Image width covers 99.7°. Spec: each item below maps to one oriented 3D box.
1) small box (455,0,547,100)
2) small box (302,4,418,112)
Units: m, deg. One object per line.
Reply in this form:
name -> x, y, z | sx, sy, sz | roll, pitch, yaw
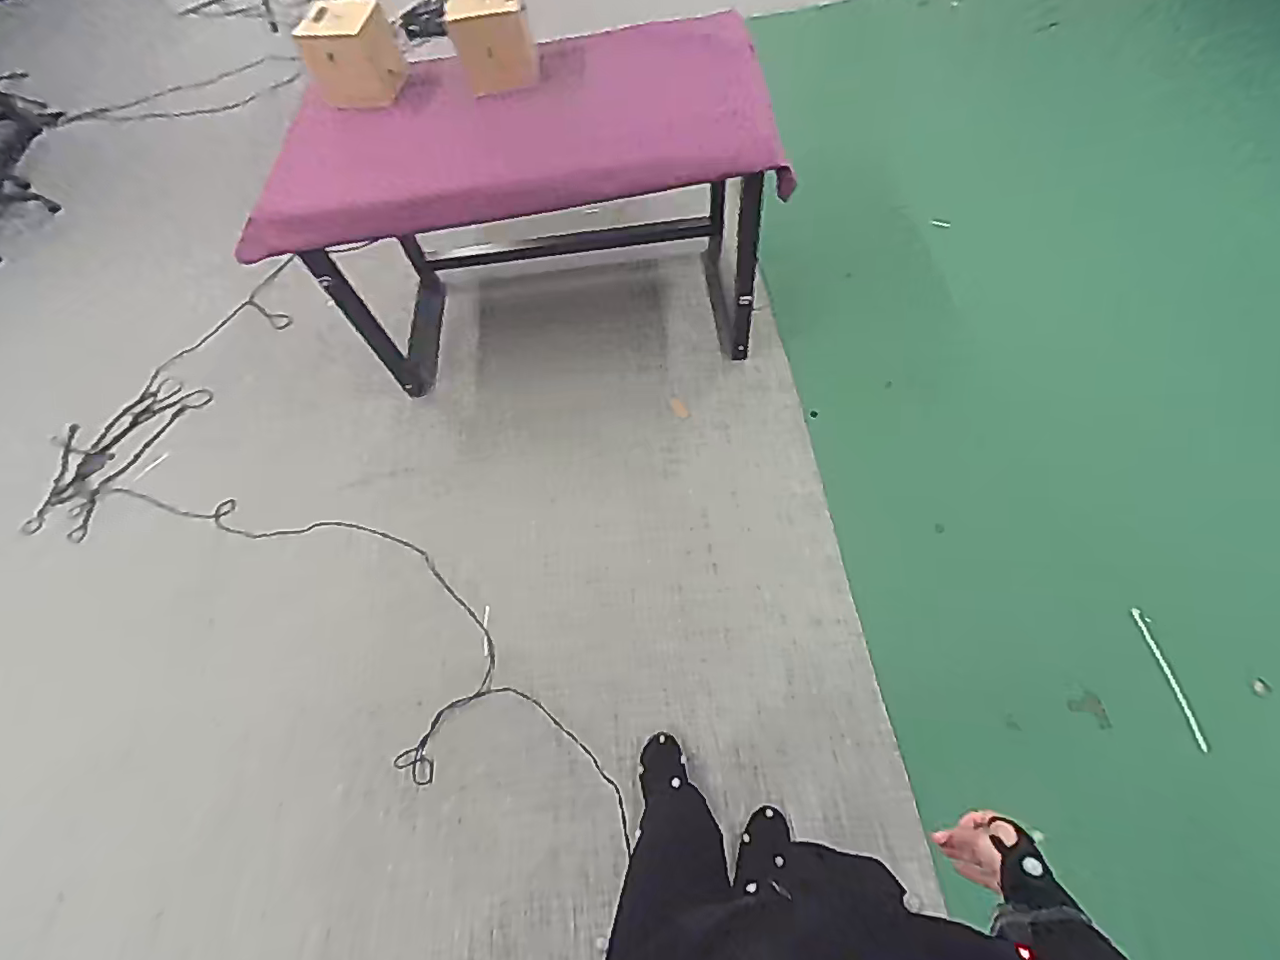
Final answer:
small box -> -0.344, -1.095, 1.361 | 0.179, 0.176, 0.168 | -7, 64, 4
small box -> -0.712, -1.083, 1.396 | 0.179, 0.176, 0.168 | 5, 64, 8
